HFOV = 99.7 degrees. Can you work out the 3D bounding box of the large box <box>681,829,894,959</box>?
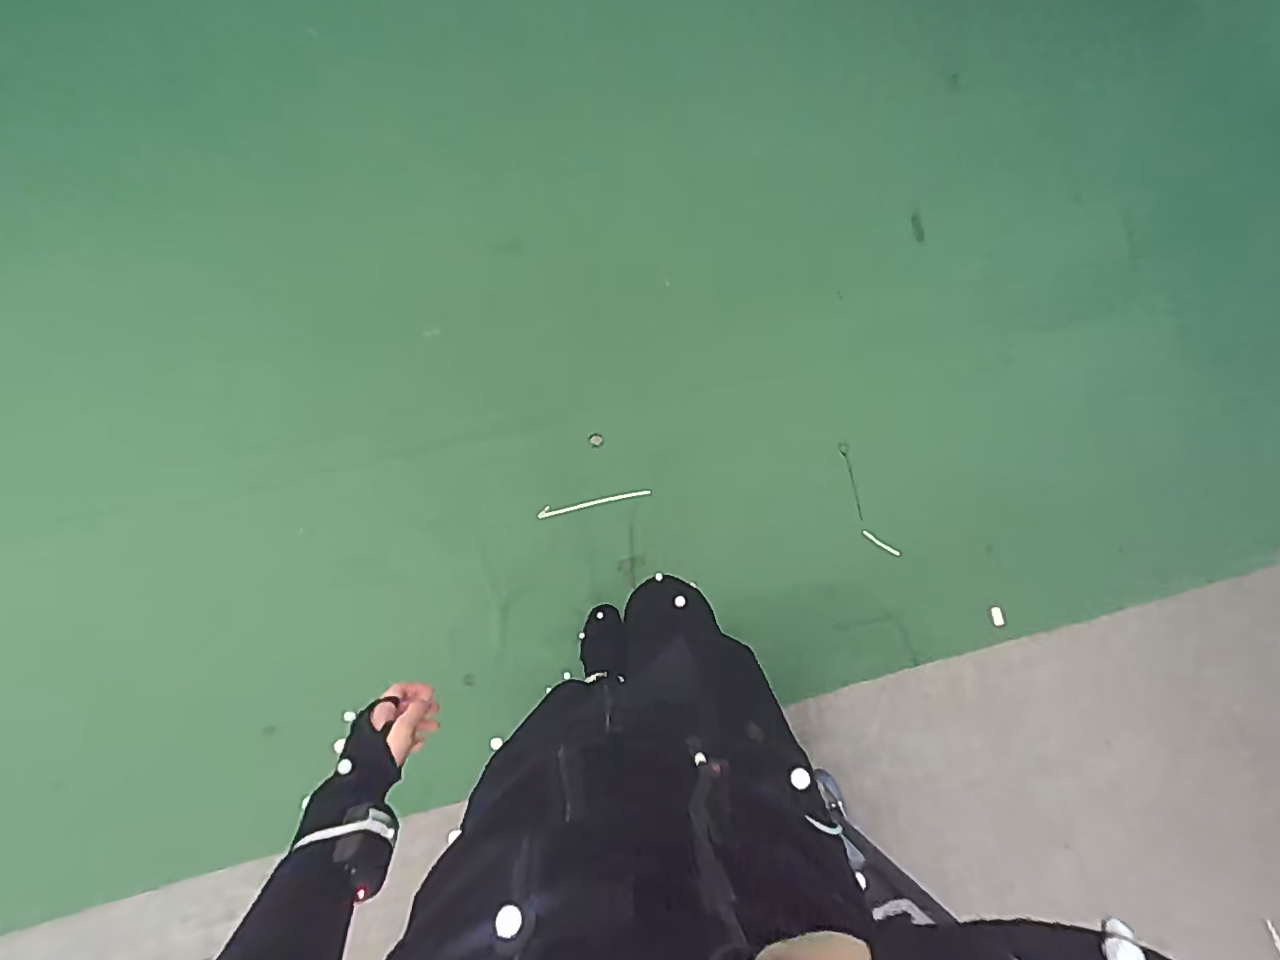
[{"bbox_3d":[0.301,0.977,1.015,0.320,0.320,0.408,-16,80,-7],"label":"large box"}]
